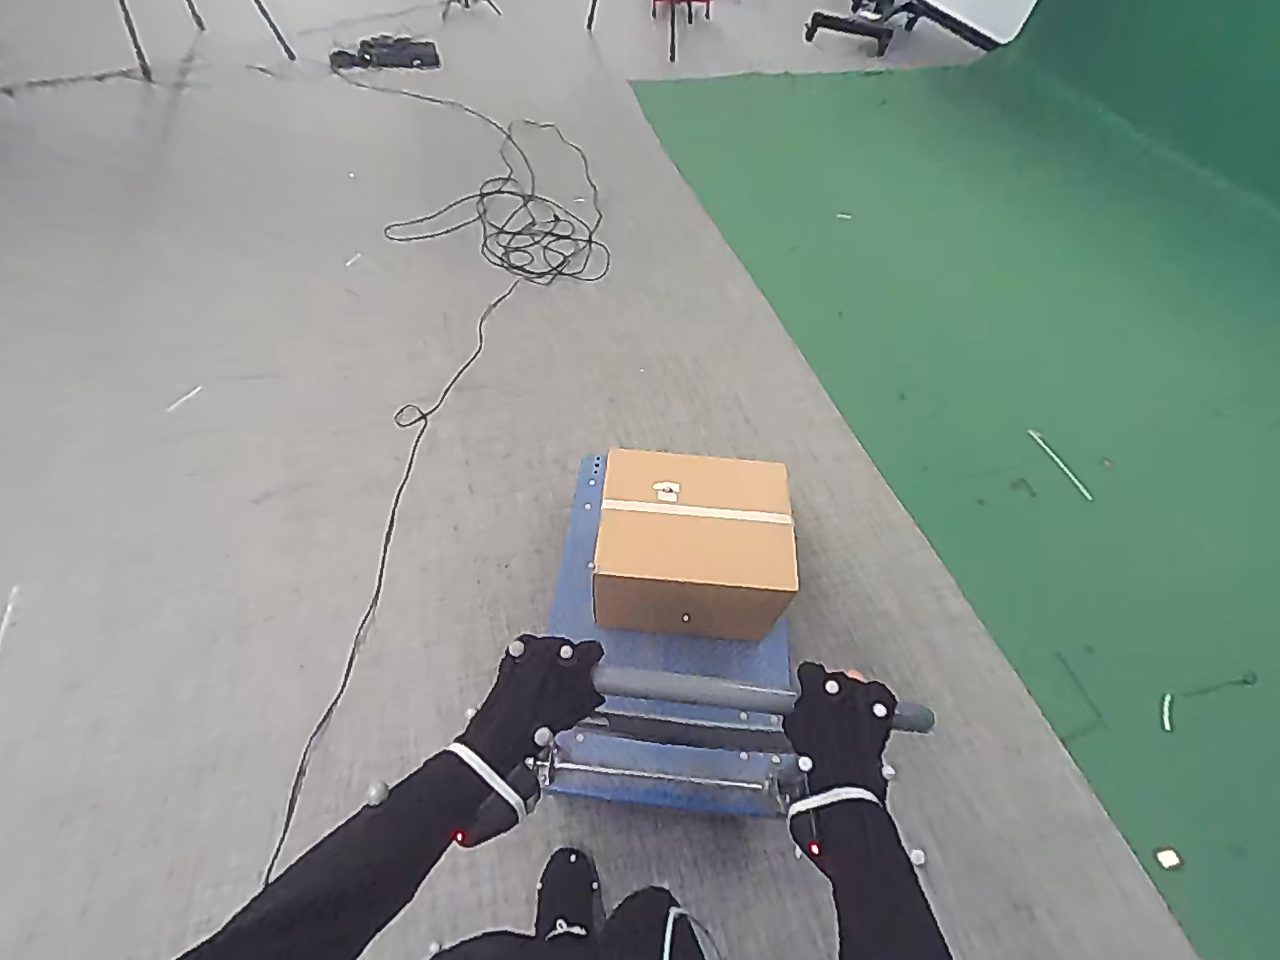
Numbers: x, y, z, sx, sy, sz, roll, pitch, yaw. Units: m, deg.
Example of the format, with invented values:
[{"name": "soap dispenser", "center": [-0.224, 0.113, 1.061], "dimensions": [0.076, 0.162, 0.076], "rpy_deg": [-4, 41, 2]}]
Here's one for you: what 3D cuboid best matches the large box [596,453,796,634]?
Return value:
[{"name": "large box", "center": [0.116, 0.158, 1.270], "dimensions": [0.408, 0.320, 0.320], "rpy_deg": [4, 55, 0]}]
